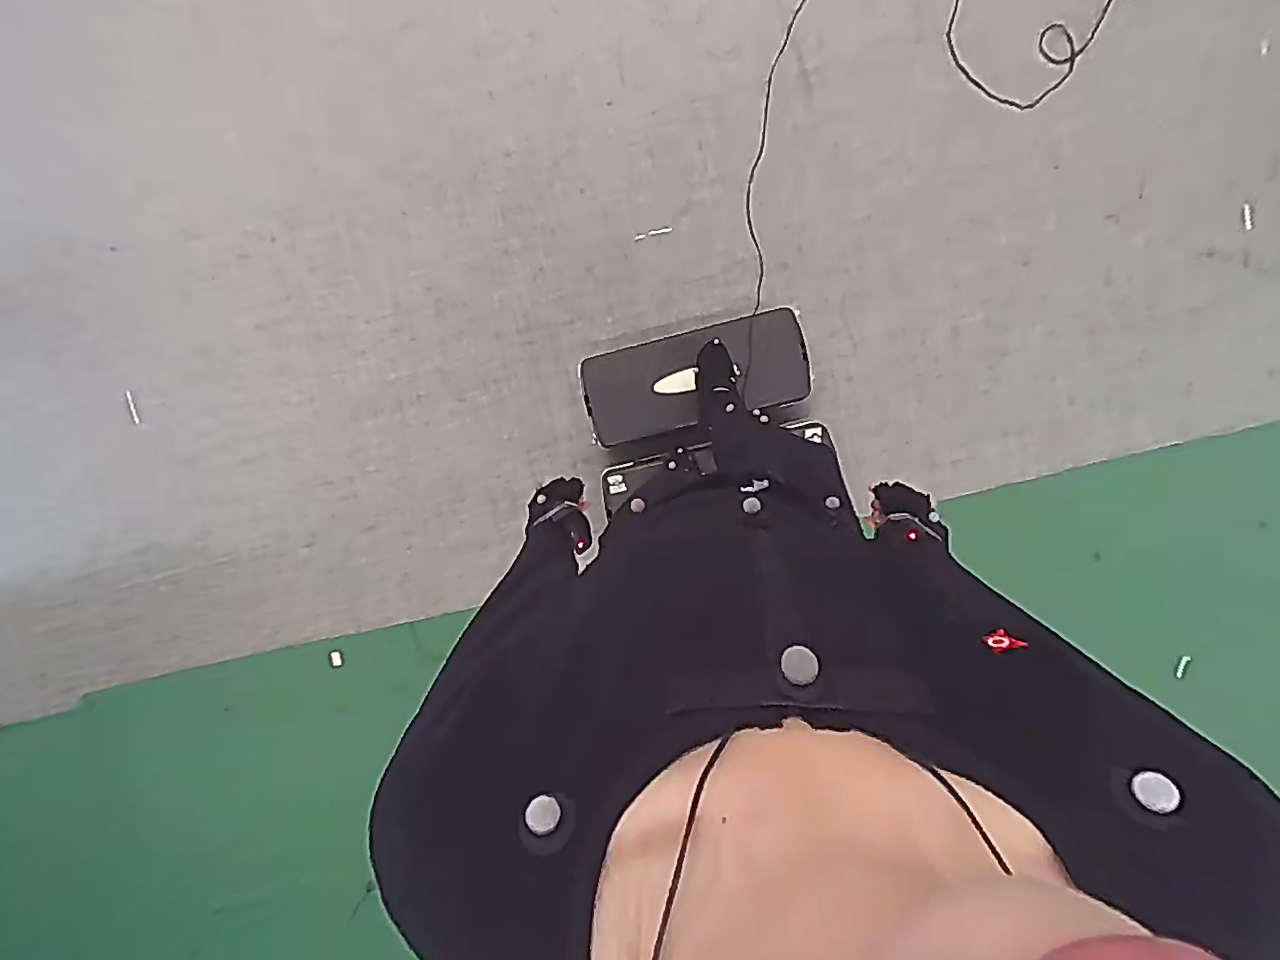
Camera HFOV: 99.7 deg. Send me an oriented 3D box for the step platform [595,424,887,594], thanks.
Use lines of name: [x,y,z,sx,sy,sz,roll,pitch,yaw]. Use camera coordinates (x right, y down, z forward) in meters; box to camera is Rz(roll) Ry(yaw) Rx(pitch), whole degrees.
step platform: [0.240,0.068,1.379,0.684,0.204,0.286,-14,93,2]
